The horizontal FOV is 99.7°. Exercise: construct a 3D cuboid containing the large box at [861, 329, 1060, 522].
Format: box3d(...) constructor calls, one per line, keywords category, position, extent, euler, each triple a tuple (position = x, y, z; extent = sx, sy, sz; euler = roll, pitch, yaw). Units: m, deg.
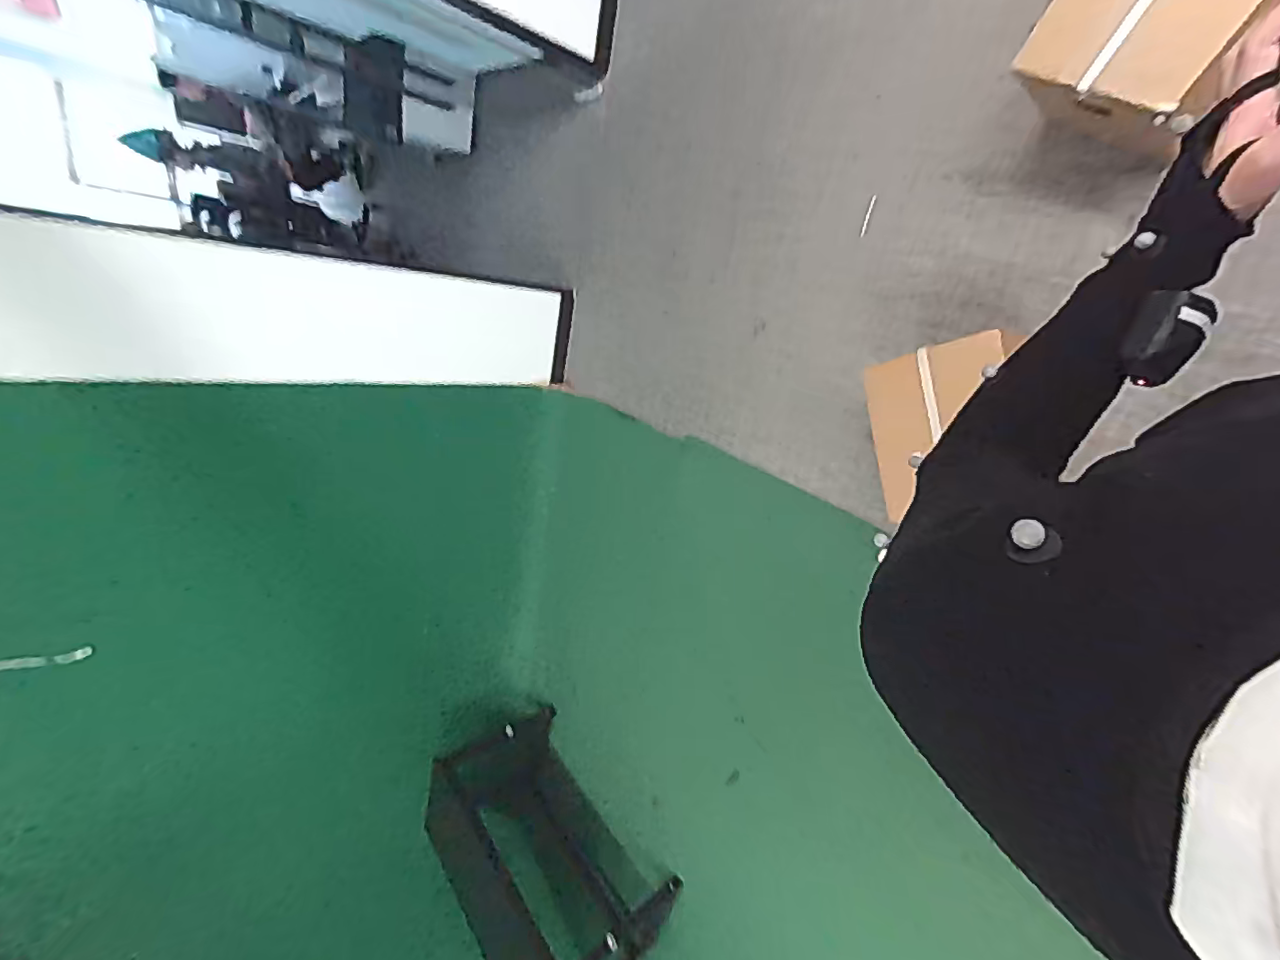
box3d(category="large box", position=(0.812, -0.129, 1.371), extent=(0.320, 0.320, 0.408), euler=(-13, 88, 48))
